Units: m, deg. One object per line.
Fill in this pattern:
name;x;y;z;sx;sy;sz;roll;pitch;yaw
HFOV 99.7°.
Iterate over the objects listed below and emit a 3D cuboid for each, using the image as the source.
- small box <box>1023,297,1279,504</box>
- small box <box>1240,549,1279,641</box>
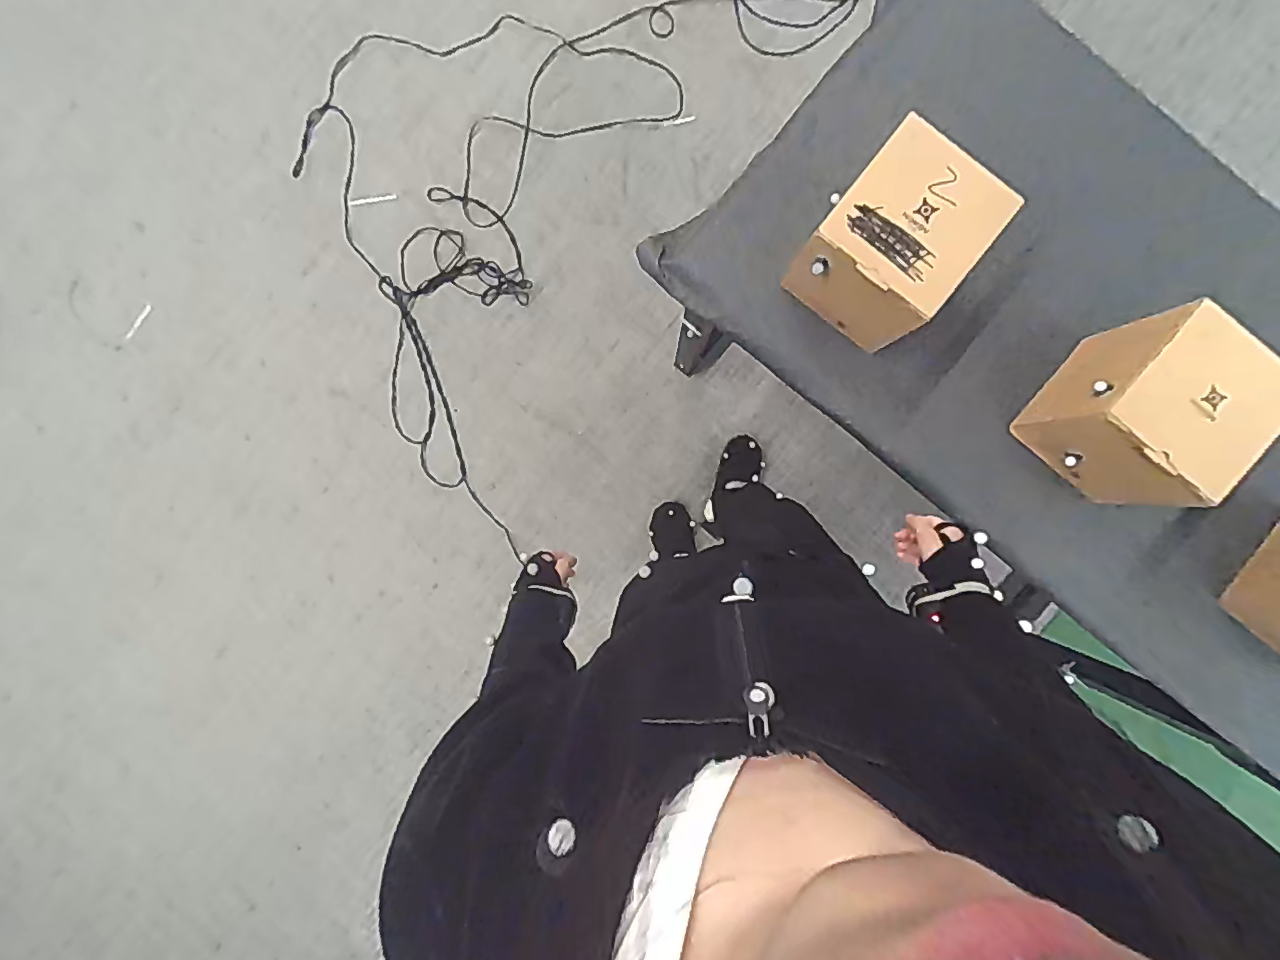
small box;0.646;-0.089;0.683;0.168;0.176;0.179;40;91;1
small box;0.936;0.151;0.670;0.168;0.176;0.179;38;91;2
